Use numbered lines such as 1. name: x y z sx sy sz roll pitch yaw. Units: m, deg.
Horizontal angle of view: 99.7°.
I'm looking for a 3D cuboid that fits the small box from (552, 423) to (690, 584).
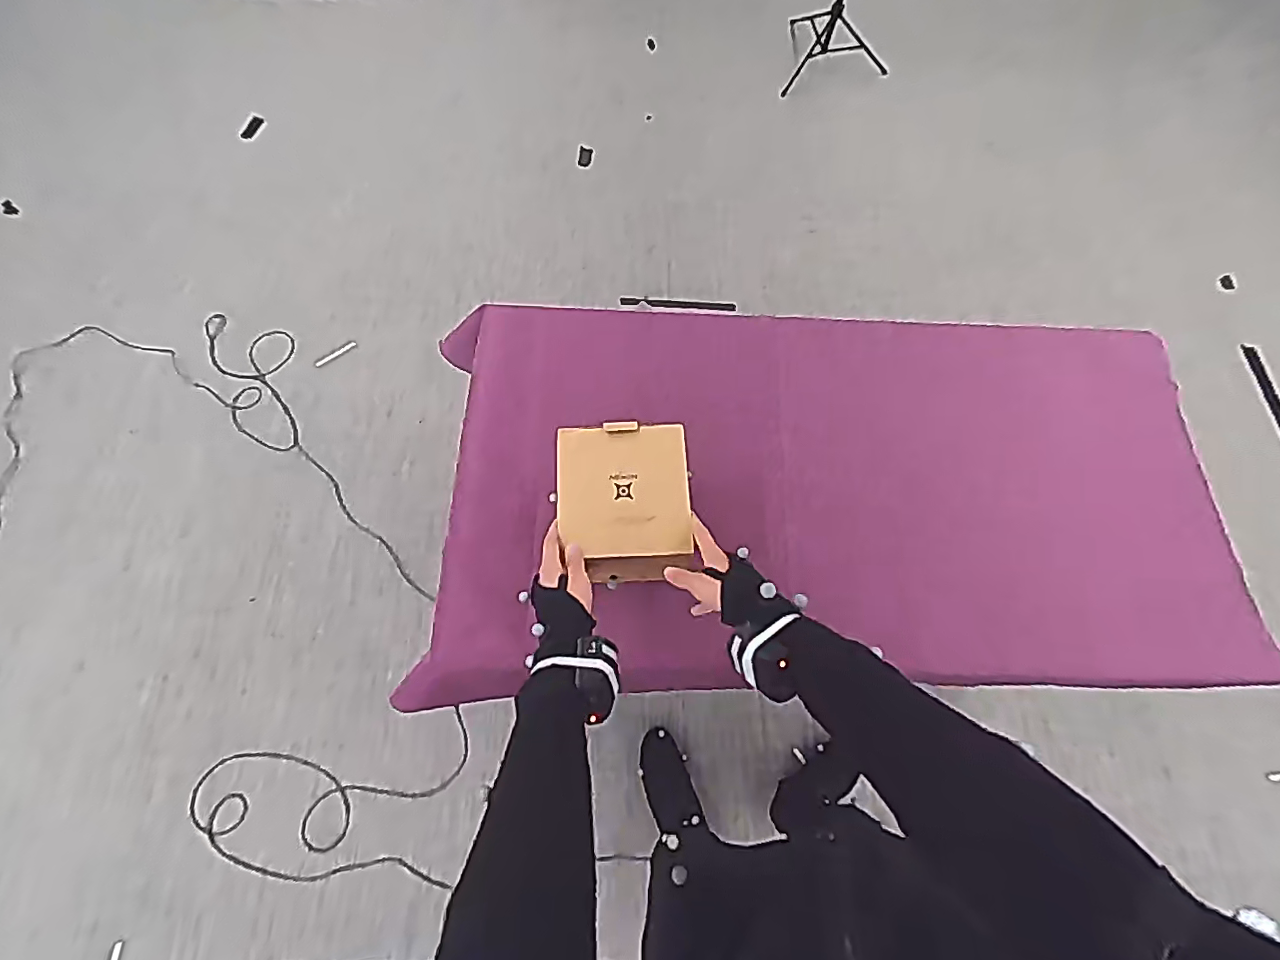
1. small box: -0.027 0.038 0.737 0.168 0.176 0.179 -2 69 -3
